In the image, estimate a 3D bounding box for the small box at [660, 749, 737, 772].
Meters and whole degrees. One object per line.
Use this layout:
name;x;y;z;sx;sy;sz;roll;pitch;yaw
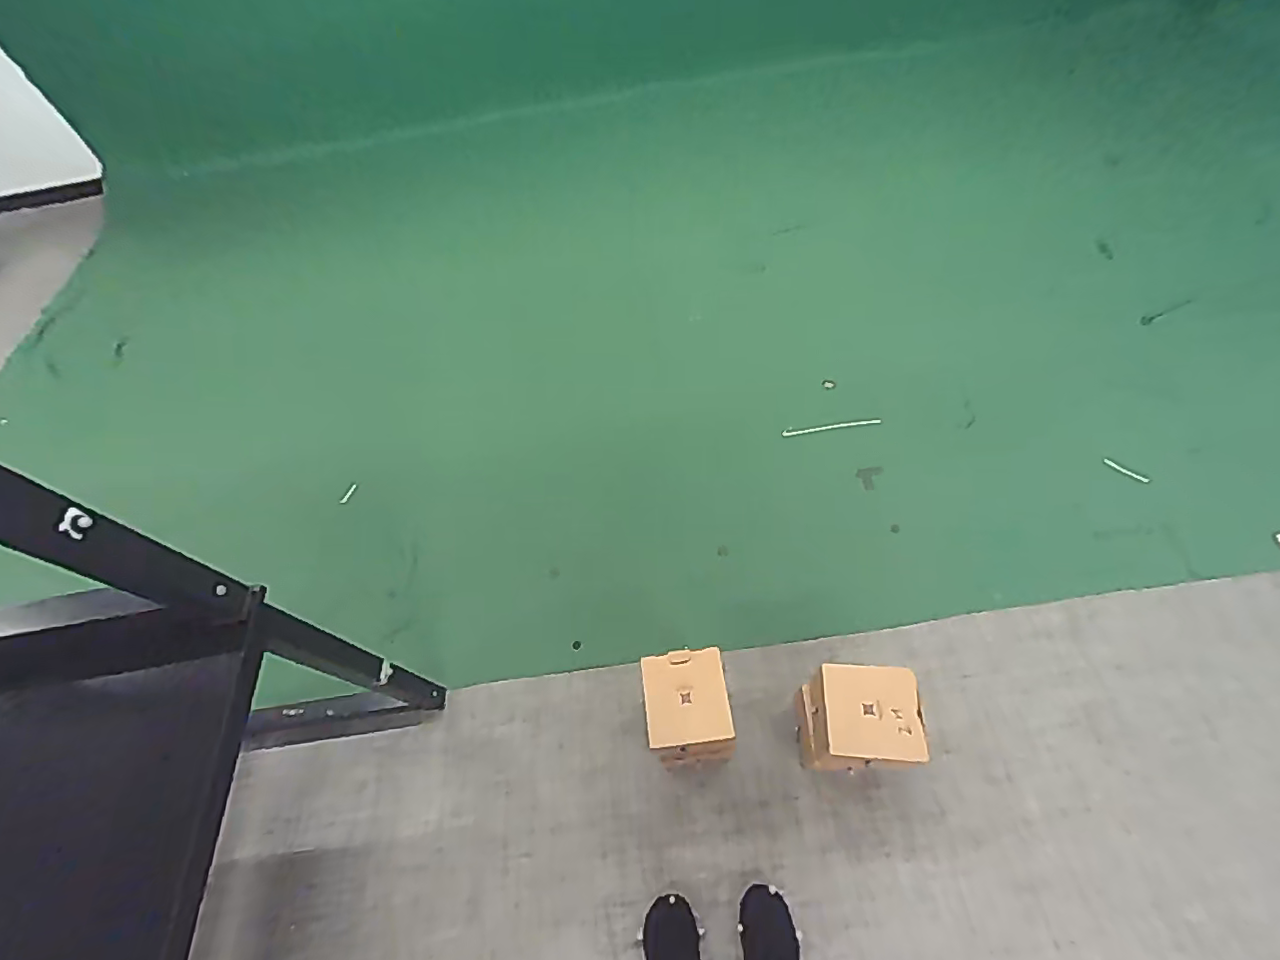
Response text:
small box;0.125;0.569;1.252;0.168;0.176;0.179;-11;57;1

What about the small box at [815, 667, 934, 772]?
small box;0.449;0.477;1.070;0.179;0.176;0.168;0;59;8

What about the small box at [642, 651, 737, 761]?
small box;0.104;0.475;1.121;0.168;0.176;0.179;-10;56;2
